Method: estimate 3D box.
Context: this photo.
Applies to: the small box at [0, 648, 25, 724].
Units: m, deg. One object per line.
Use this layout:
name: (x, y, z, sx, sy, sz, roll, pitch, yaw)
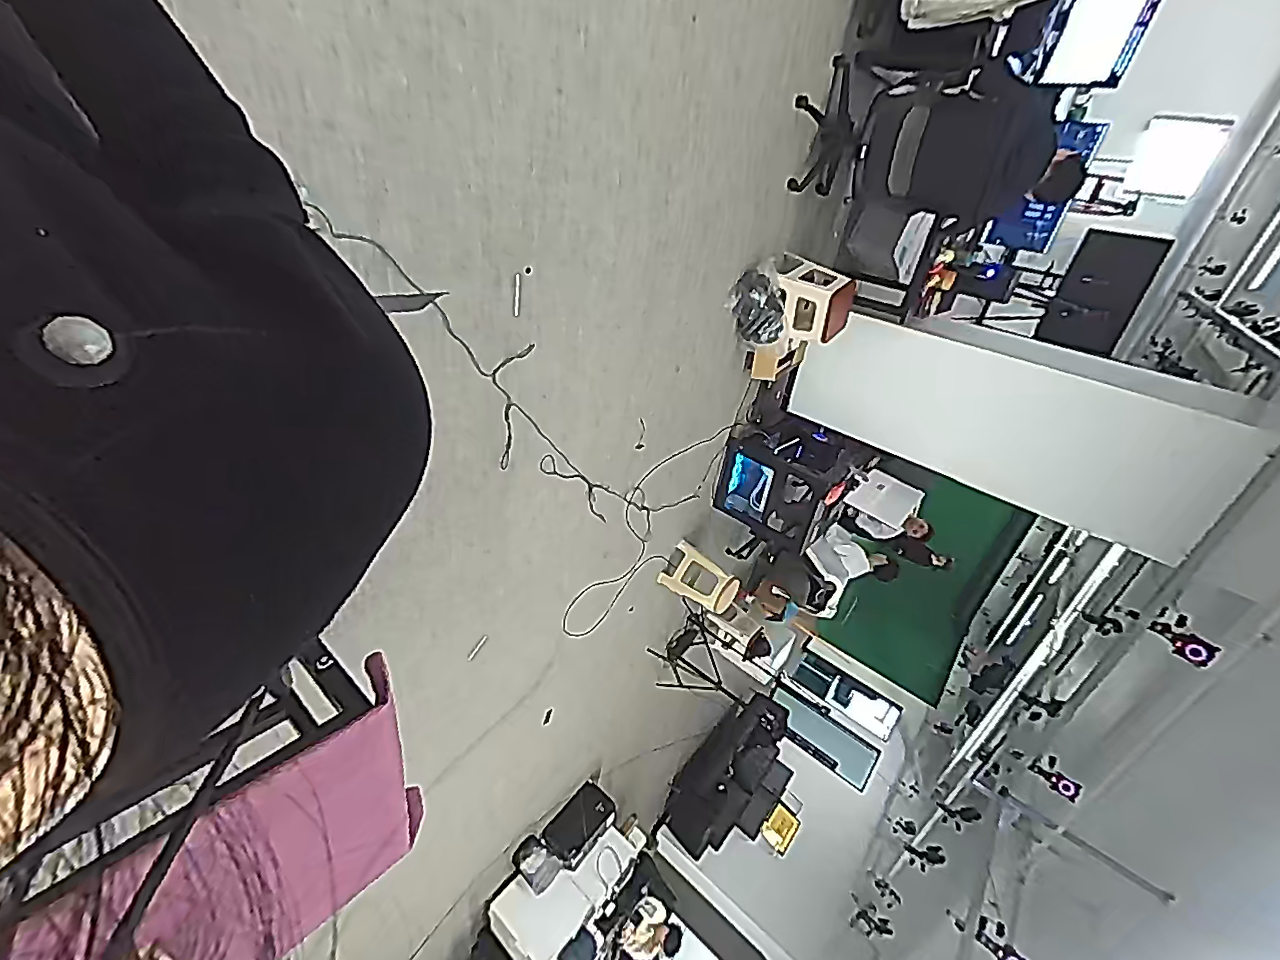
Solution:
small box: (-1.374, 0.403, 1.064, 0.168, 0.176, 0.179, -27, 135, -45)
